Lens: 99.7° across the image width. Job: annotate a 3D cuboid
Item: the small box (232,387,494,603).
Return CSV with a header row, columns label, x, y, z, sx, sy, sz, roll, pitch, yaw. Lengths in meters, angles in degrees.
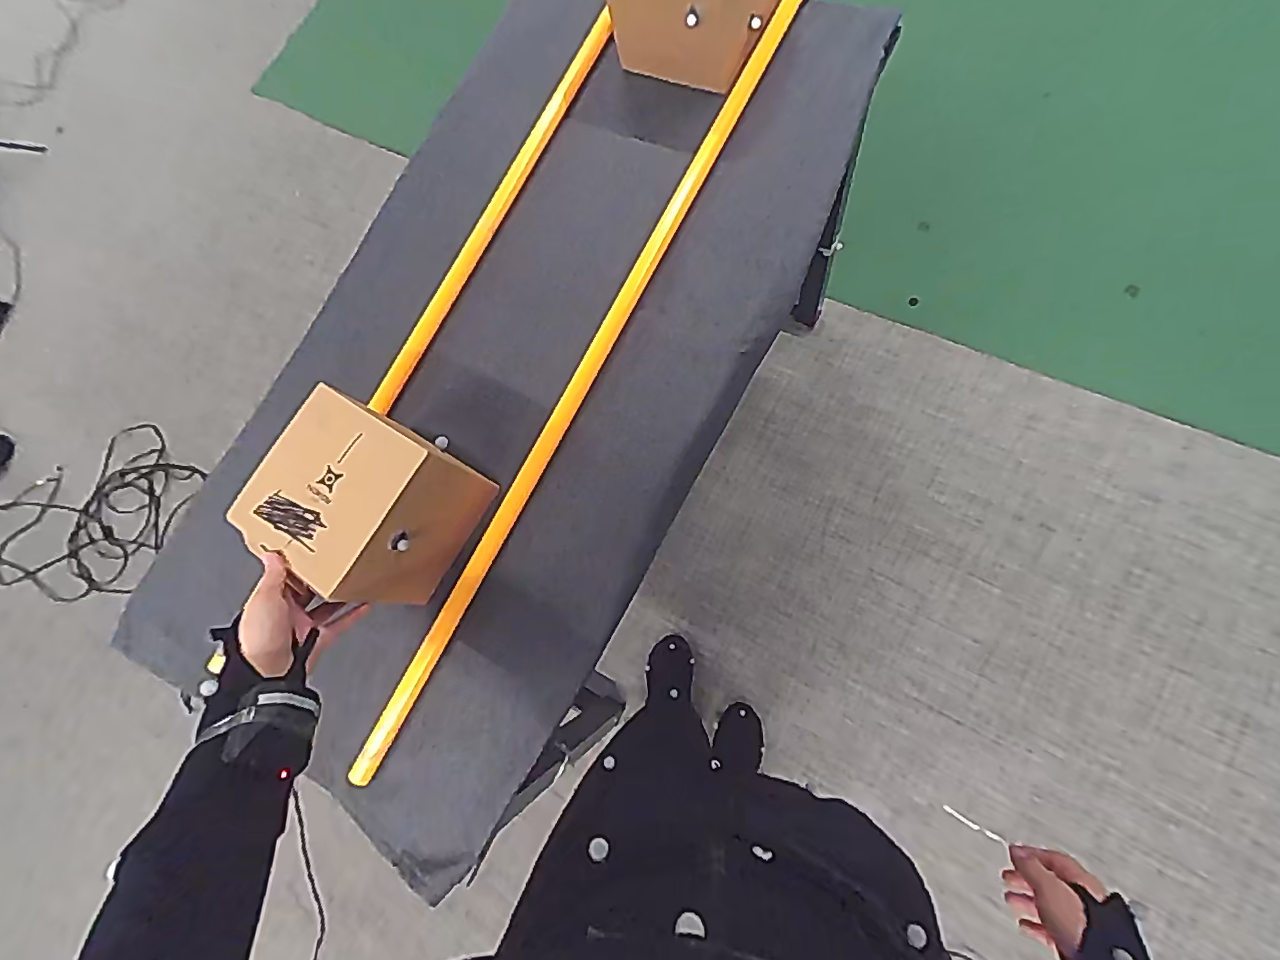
label,x,y,z,sx,sy,sz,roll,pitch,yaw
small box,-0.302,0.028,0.628,0.168,0.176,0.179,30,83,16
